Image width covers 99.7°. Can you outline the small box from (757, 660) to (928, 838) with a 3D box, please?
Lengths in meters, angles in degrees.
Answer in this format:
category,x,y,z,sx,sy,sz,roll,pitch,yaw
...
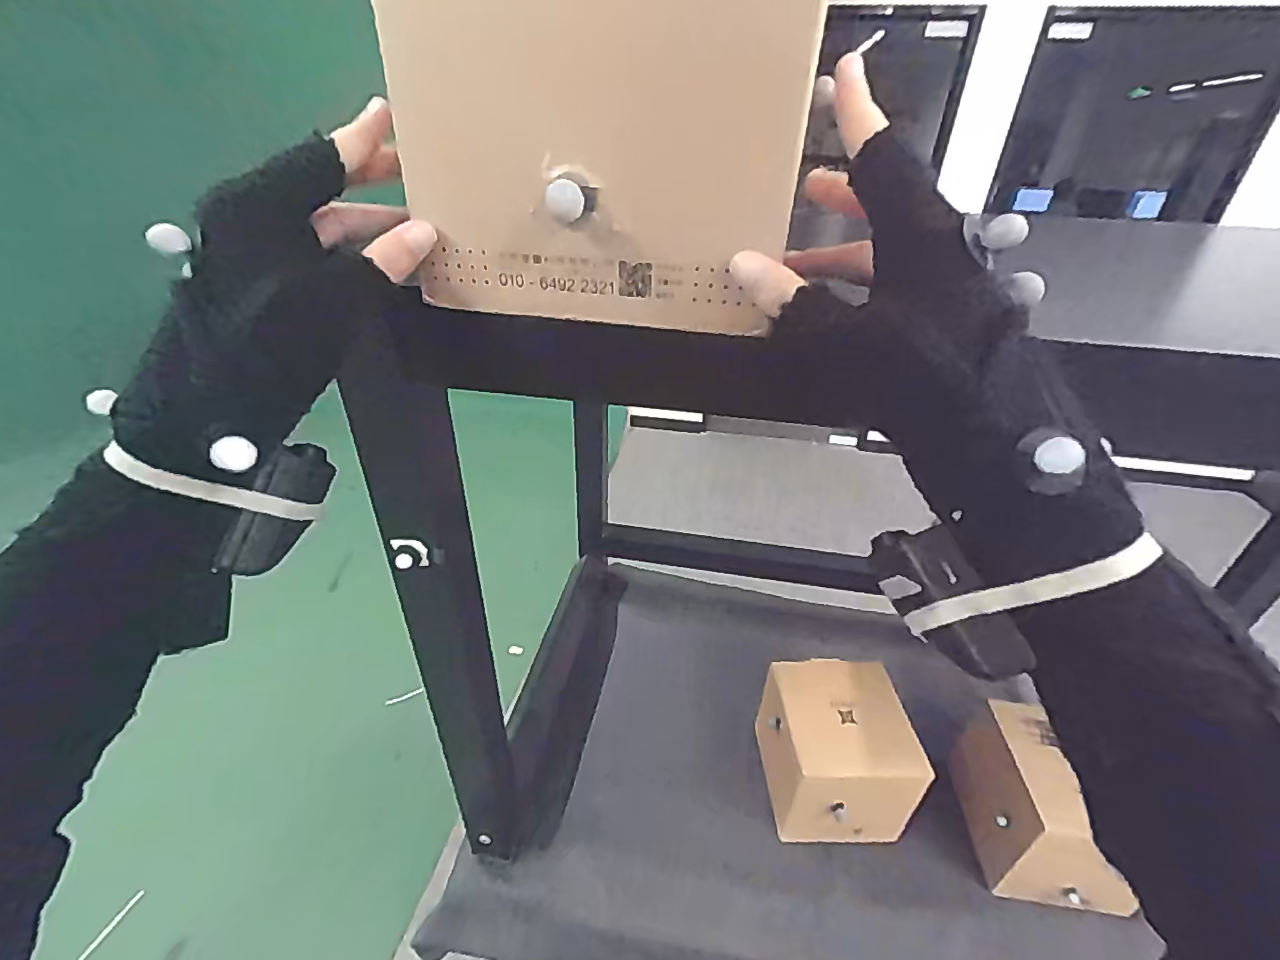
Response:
category,x,y,z,sx,sy,sz,roll,pitch,yaw
small box,0.271,0.382,0.770,0.168,0.176,0.179,1,32,-2

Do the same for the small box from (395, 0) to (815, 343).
category,x,y,z,sx,sy,sz,roll,pitch,yaw
small box,-0.007,-0.184,0.280,0.168,0.176,0.179,8,33,9
